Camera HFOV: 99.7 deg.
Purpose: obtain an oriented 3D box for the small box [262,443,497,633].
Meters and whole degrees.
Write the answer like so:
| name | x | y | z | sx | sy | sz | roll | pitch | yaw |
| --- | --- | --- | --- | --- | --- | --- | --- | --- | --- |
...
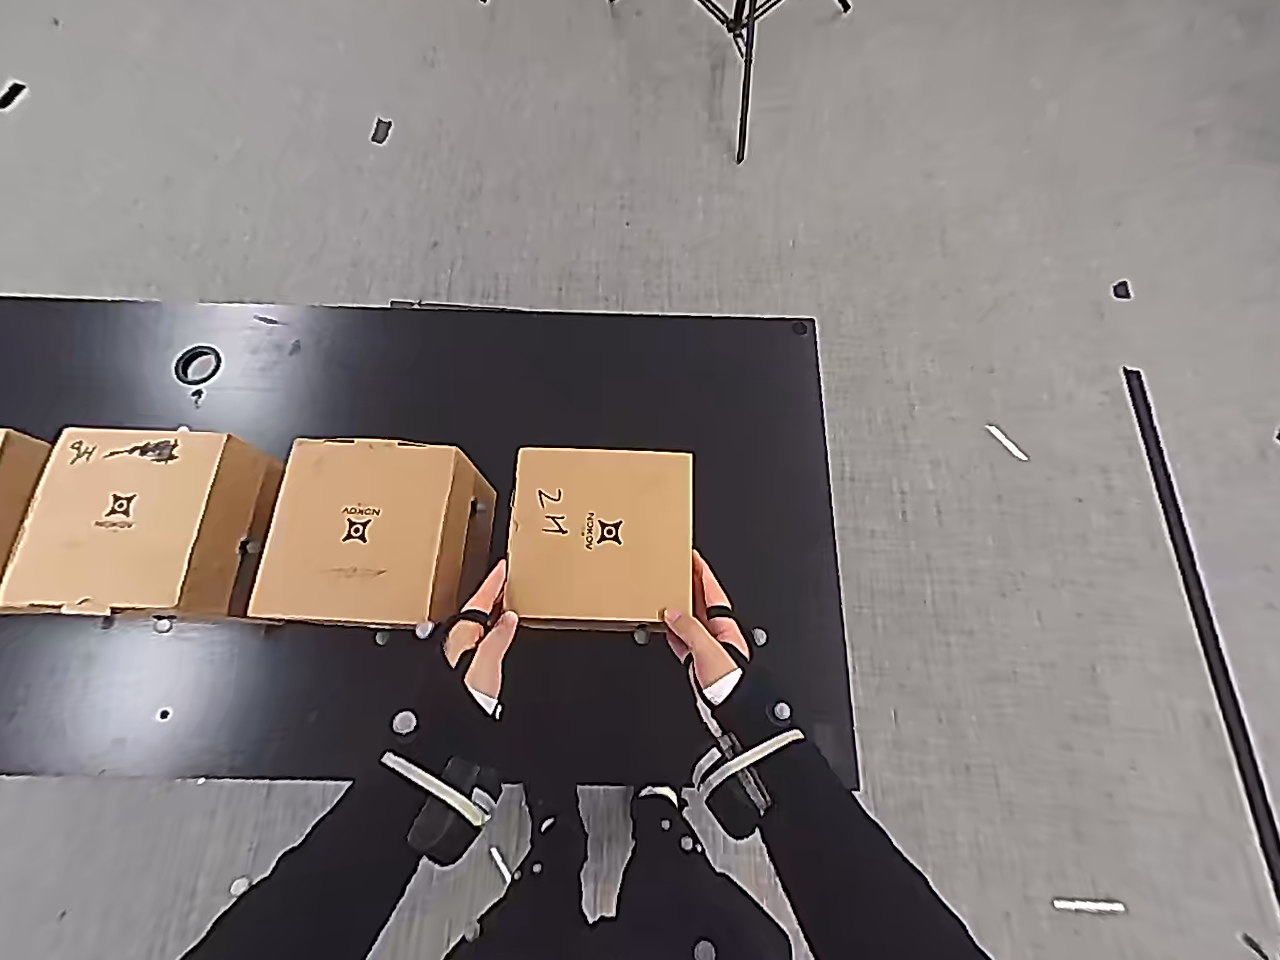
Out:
| name | x | y | z | sx | sy | sz | roll | pitch | yaw |
| --- | --- | --- | --- | --- | --- | --- | --- | --- | --- |
| small box | -0.264 | 0.073 | 0.598 | 0.168 | 0.176 | 0.179 | 2 | 72 | 1 |

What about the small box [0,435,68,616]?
| name | x | y | z | sx | sy | sz | roll | pitch | yaw |
| --- | --- | --- | --- | --- | --- | --- | --- | --- | --- |
| small box | -0.705 | 0.058 | 0.591 | 0.179 | 0.176 | 0.168 | 0 | 72 | -2 |

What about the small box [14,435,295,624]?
| name | x | y | z | sx | sy | sz | roll | pitch | yaw |
| --- | --- | --- | --- | --- | --- | --- | --- | --- | --- |
| small box | -0.490 | 0.063 | 0.595 | 0.168 | 0.176 | 0.179 | 2 | 72 | 0 |
